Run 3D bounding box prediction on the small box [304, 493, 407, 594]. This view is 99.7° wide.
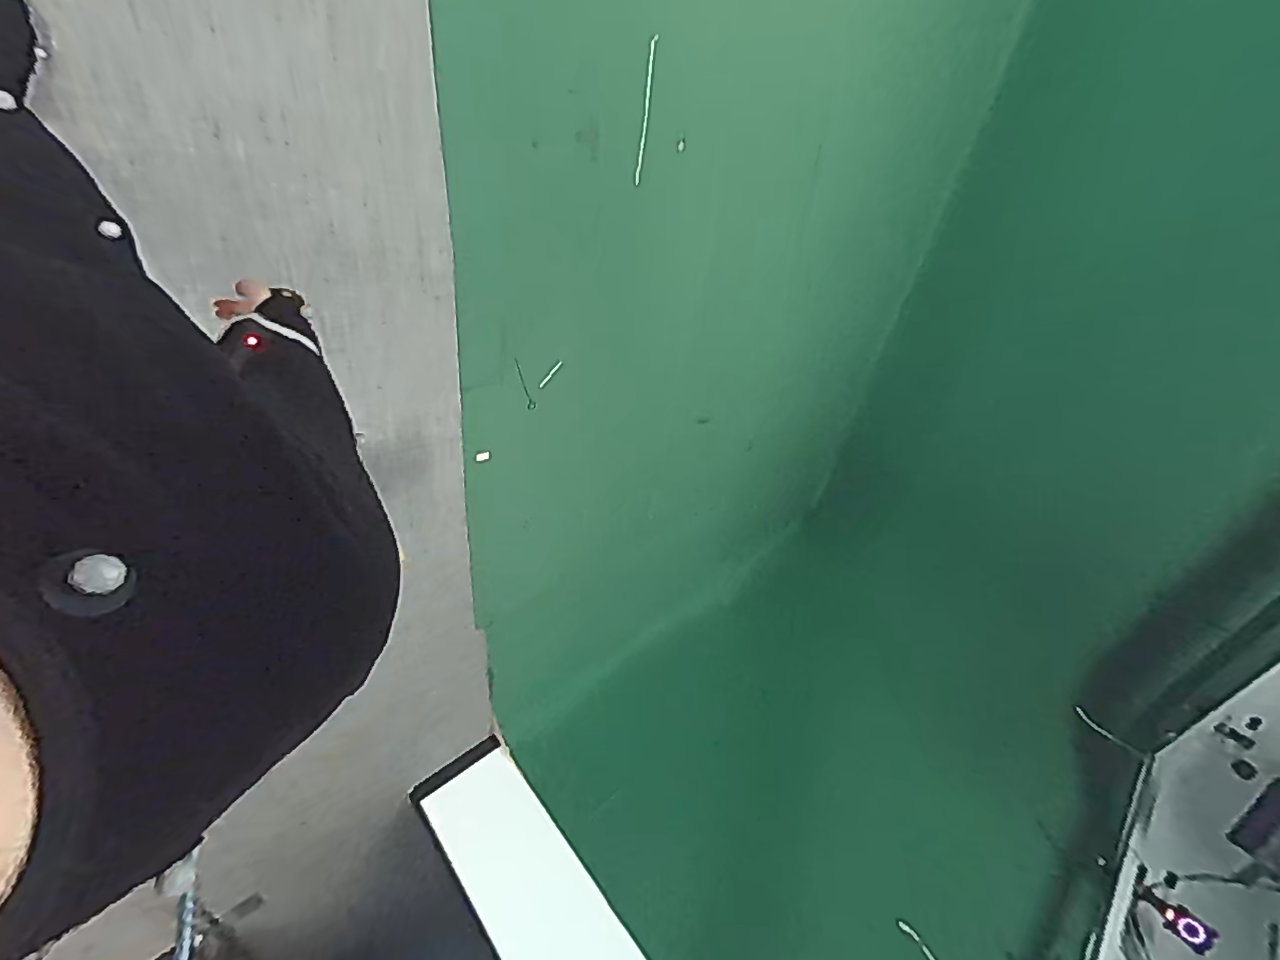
[{"bbox_3d":[-0.749,0.157,1.423,0.168,0.176,0.179,-31,141,-28],"label":"small box"}]

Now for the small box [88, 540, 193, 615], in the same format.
[{"bbox_3d":[-1.188,0.270,1.300,0.179,0.176,0.168,-16,132,-41],"label":"small box"}]
